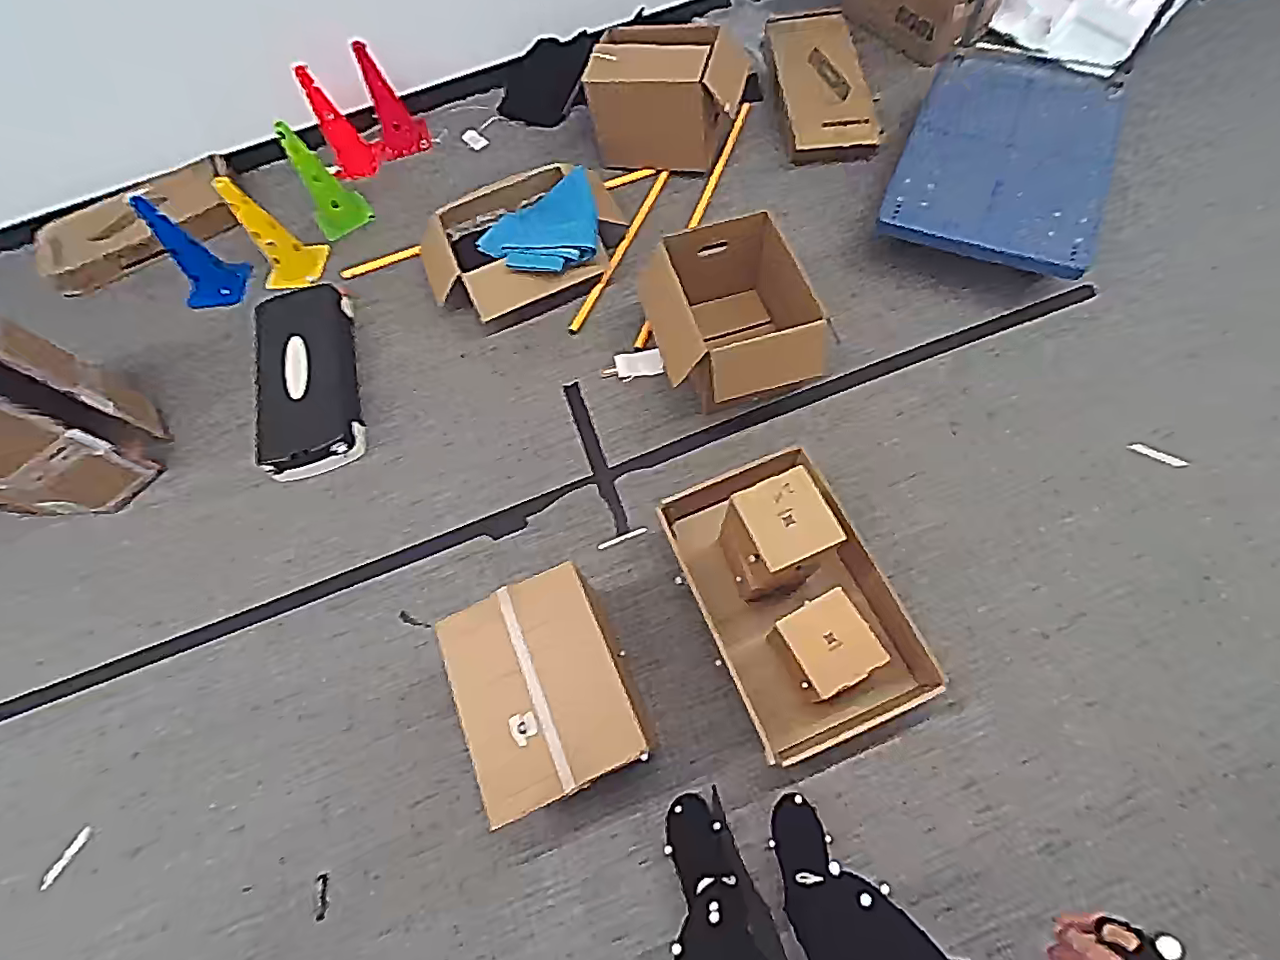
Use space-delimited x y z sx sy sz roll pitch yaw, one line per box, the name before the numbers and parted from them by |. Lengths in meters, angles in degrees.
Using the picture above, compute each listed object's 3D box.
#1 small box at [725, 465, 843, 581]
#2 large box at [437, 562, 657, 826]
small box | 0.291 0.099 1.134 0.168 0.176 0.179 -22 68 -6
large box | -0.188 0.450 1.188 0.320 0.320 0.408 -25 68 -5
